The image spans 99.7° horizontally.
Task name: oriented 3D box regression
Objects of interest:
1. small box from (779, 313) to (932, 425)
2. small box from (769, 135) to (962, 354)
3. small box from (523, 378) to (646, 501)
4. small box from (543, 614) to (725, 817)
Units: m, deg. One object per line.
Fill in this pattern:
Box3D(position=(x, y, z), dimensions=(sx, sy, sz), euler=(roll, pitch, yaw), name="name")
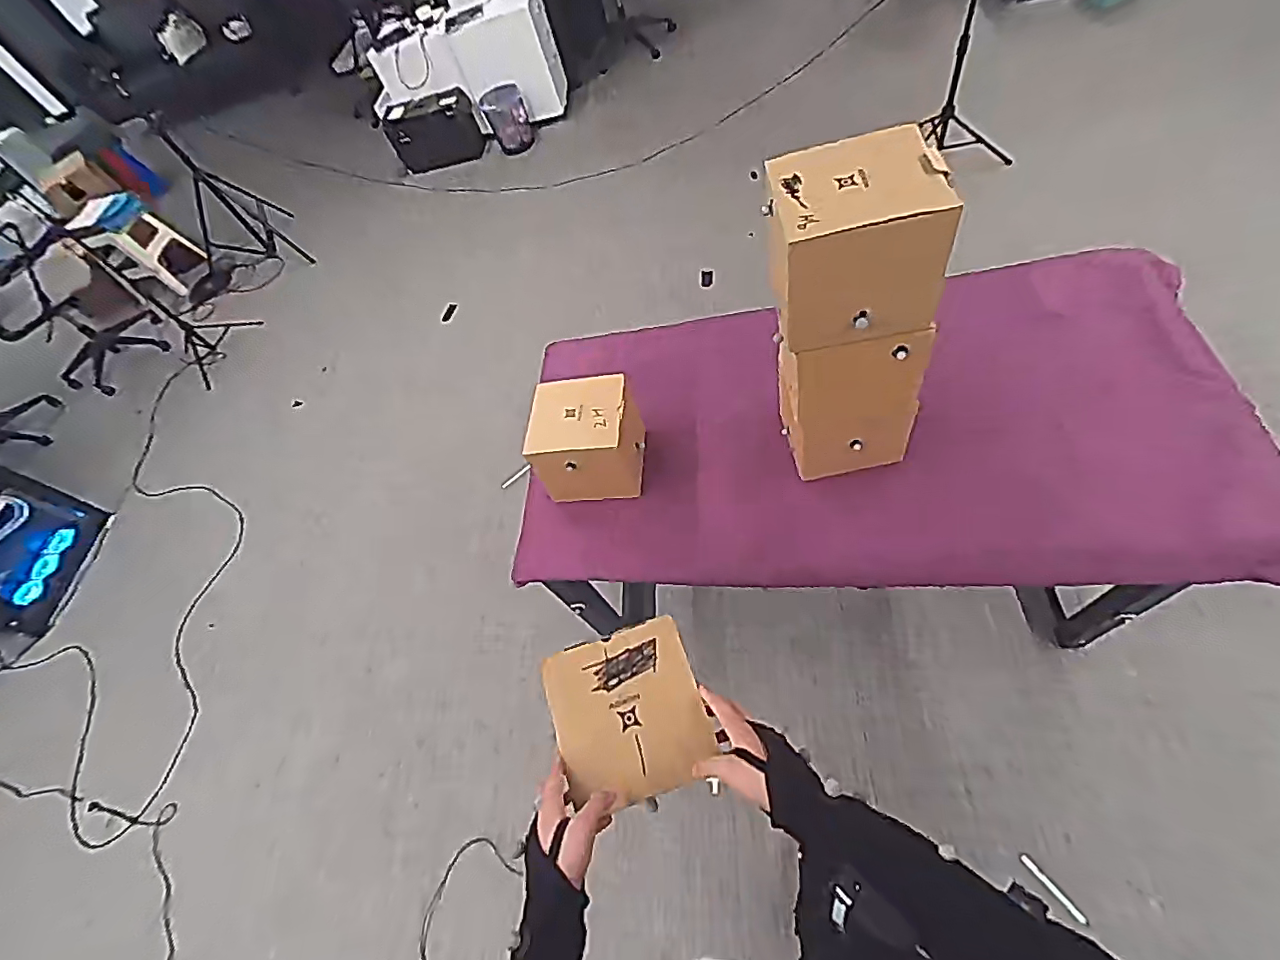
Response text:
Box3D(position=(0.302, -0.199, 0.800), dimensions=(0.179, 0.176, 0.168), euler=(-8, 57, 11), name="small box")
Box3D(position=(0.256, -0.280, 0.665), dimensions=(0.179, 0.176, 0.168), euler=(-7, 57, 10), name="small box")
Box3D(position=(-0.096, -0.069, 1.023), dimensions=(0.179, 0.176, 0.168), euler=(-3, 57, 13), name="small box")
Box3D(position=(-0.010, 0.292, 0.669), dimensions=(0.168, 0.176, 0.179), euler=(-17, 62, -7), name="small box")
